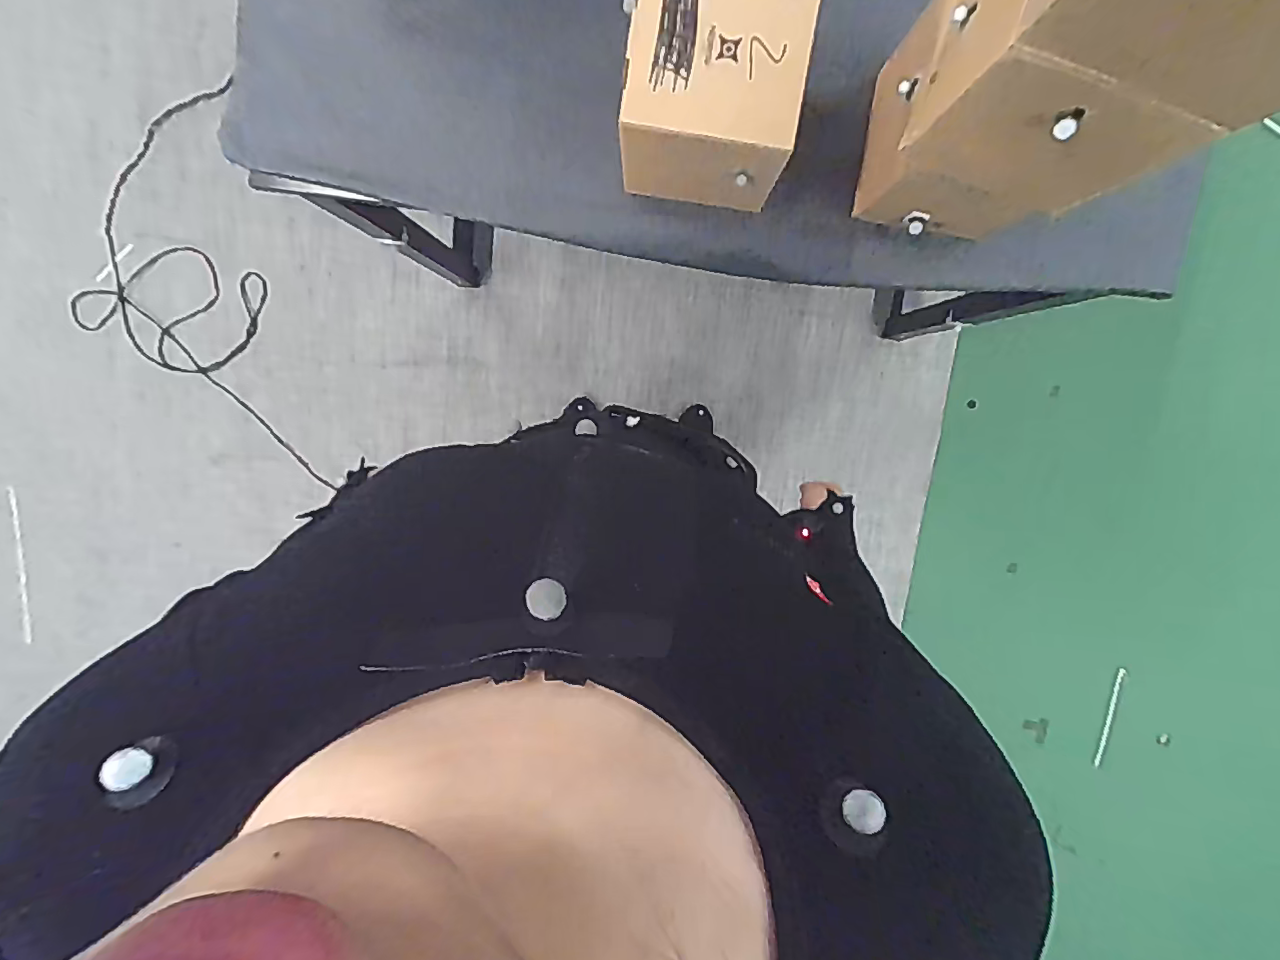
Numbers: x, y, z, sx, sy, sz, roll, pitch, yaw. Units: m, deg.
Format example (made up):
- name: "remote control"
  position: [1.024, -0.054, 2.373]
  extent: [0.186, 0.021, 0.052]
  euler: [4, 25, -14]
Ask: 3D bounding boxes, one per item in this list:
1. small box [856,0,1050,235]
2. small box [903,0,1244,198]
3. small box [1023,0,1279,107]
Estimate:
- name: "small box"
  position: [0.361, -0.397, 0.599]
  extent: [0.168, 0.176, 0.179]
  euler: [8, 99, 0]
- name: "small box"
  position: [0.358, -0.358, 0.441]
  extent: [0.179, 0.176, 0.168]
  euler: [19, 98, -1]
- name: "small box"
  position: [0.359, -0.336, 0.277]
  extent: [0.179, 0.176, 0.168]
  euler: [20, 98, -1]
